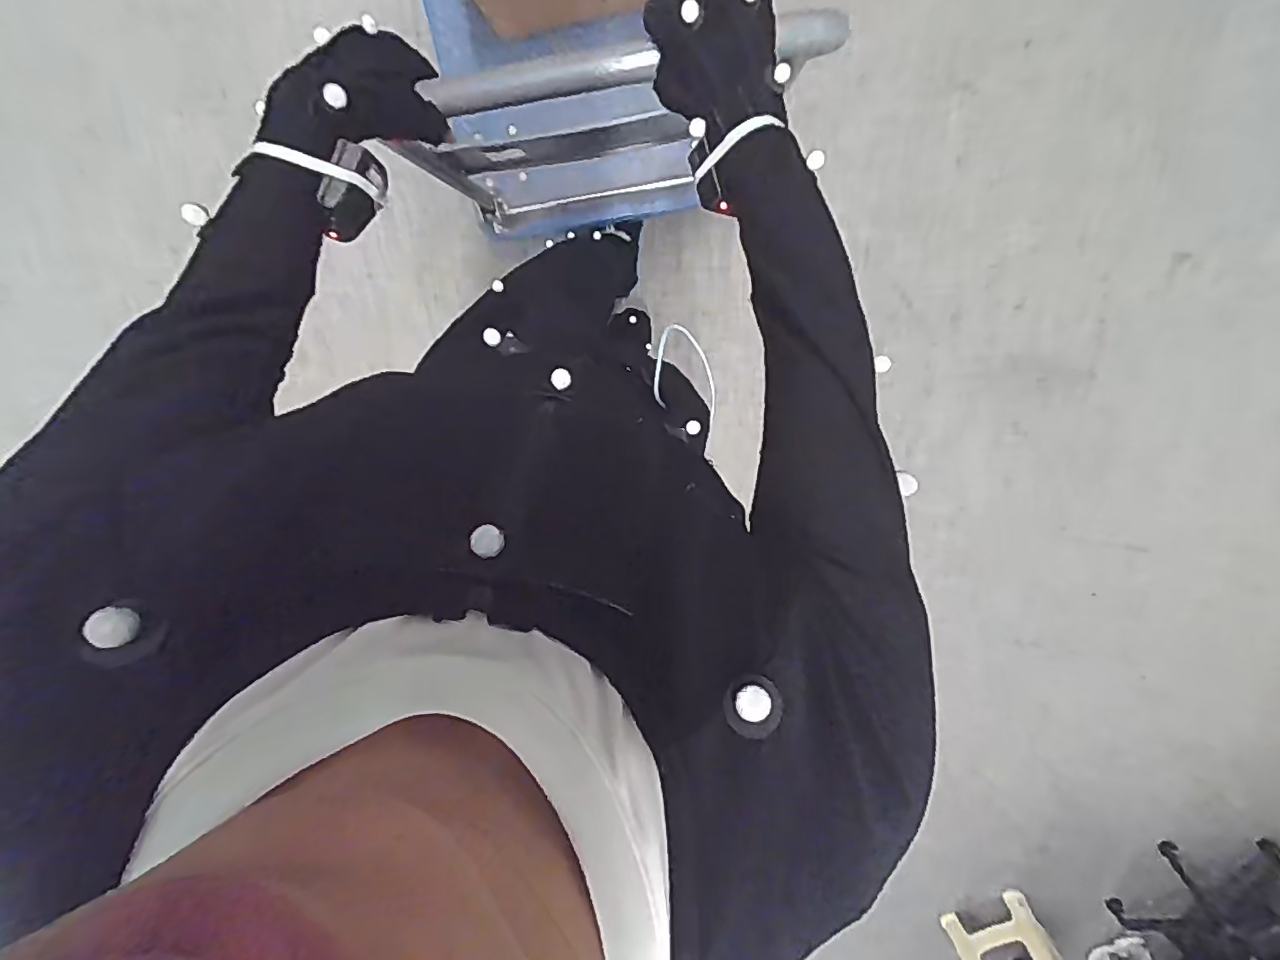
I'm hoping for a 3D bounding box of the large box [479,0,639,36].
[{"bbox_3d":[-0.090,-0.939,0.801,0.408,0.320,0.320,-10,112,5],"label":"large box"}]
